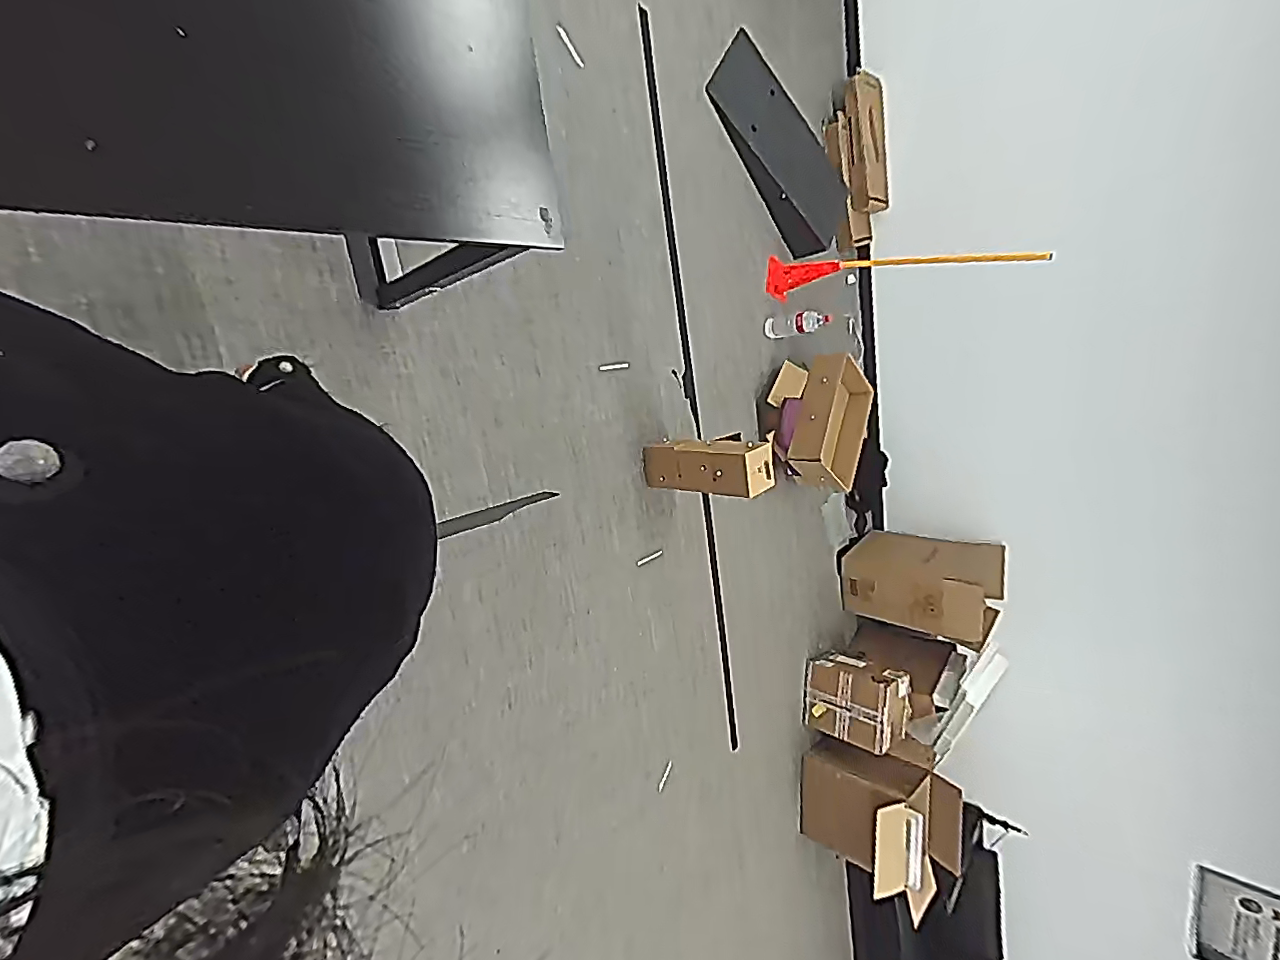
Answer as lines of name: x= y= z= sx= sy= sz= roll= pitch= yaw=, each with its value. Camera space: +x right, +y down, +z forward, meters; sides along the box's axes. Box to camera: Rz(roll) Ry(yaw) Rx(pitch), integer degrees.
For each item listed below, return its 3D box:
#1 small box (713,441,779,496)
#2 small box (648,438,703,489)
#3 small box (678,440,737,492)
small box: x=0.388 y=-0.048 z=1.980 sx=0.179 sy=0.176 sz=0.168 roll=-22 pitch=108 yaw=-42
small box: x=0.154 y=-0.071 z=2.210 sx=0.168 sy=0.176 sz=0.179 roll=-20 pitch=106 yaw=-43
small box: x=0.270 y=-0.061 z=2.094 sx=0.179 sy=0.176 sz=0.168 roll=-23 pitch=109 yaw=-43
